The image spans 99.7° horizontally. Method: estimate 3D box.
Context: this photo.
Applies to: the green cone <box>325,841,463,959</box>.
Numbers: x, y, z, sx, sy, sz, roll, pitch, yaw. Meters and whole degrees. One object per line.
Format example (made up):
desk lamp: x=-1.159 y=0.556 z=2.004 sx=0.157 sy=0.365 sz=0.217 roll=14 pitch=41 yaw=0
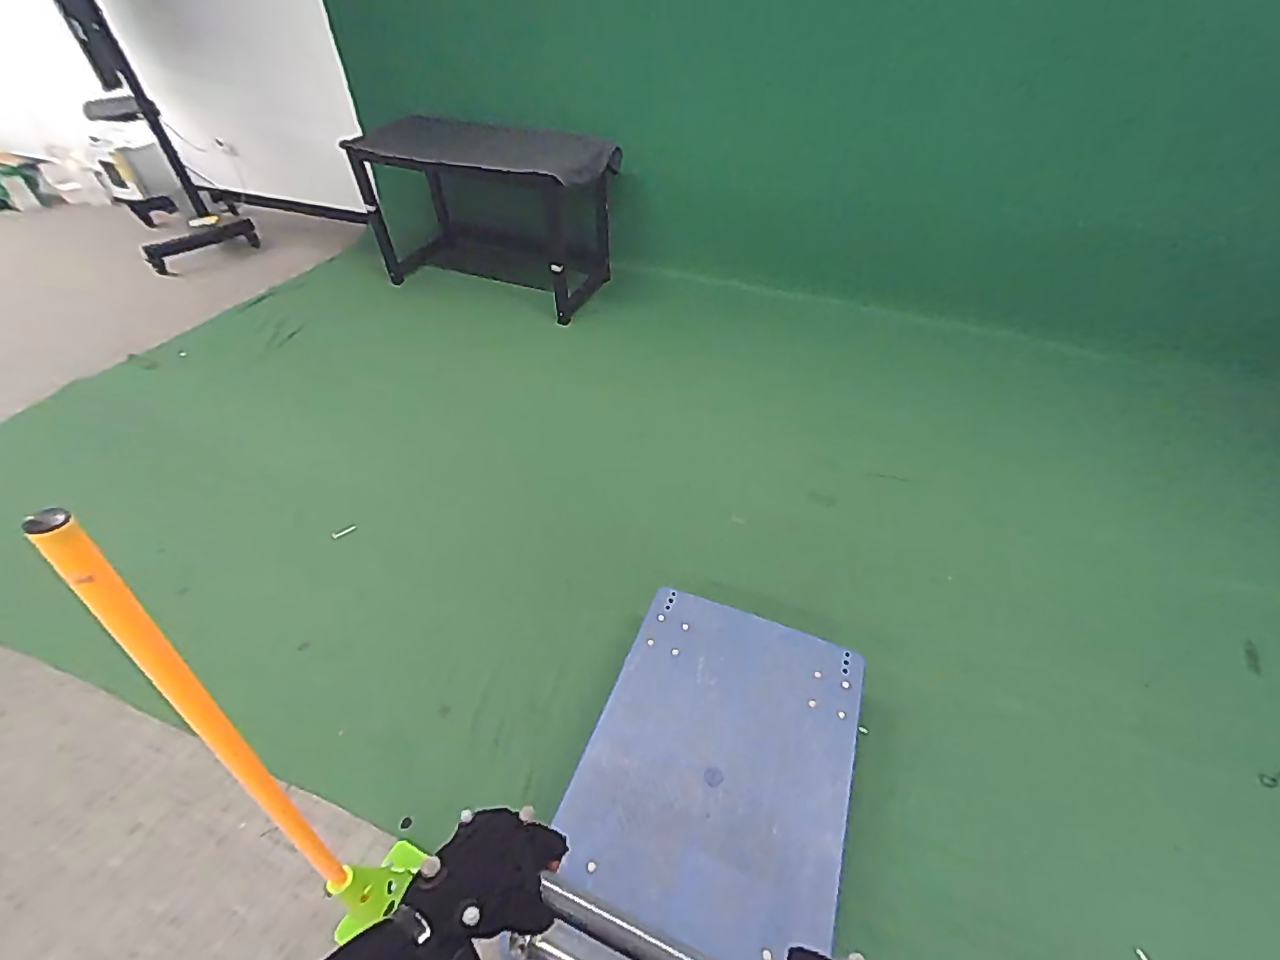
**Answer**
green cone: x=-0.512 y=0.799 z=1.046 sx=0.202 sy=0.368 sz=0.200 roll=19 pitch=46 yaw=18
